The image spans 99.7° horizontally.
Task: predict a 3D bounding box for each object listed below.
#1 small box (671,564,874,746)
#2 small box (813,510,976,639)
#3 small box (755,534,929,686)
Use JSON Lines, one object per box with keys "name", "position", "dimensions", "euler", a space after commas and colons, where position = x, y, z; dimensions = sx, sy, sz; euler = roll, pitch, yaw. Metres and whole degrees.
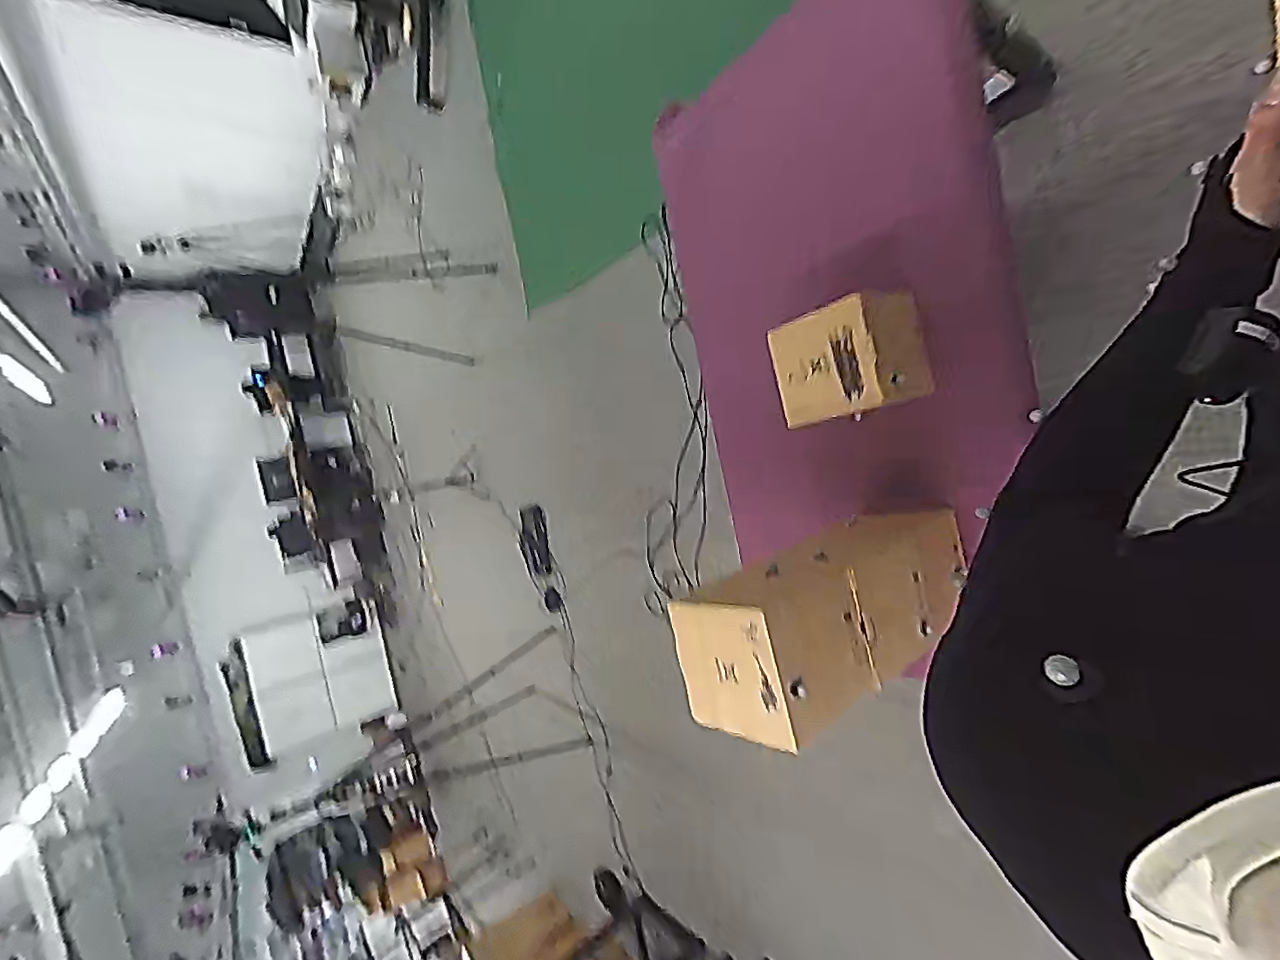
{"name": "small box", "position": [0.173, 0.213, 0.715], "dimensions": [0.179, 0.176, 0.168], "euler": [-14, 91, 54]}
{"name": "small box", "position": [0.427, 0.151, 0.911], "dimensions": [0.179, 0.176, 0.168], "euler": [-13, 91, 52]}
{"name": "small box", "position": [0.305, 0.181, 0.807], "dimensions": [0.179, 0.176, 0.168], "euler": [-13, 91, 54]}
